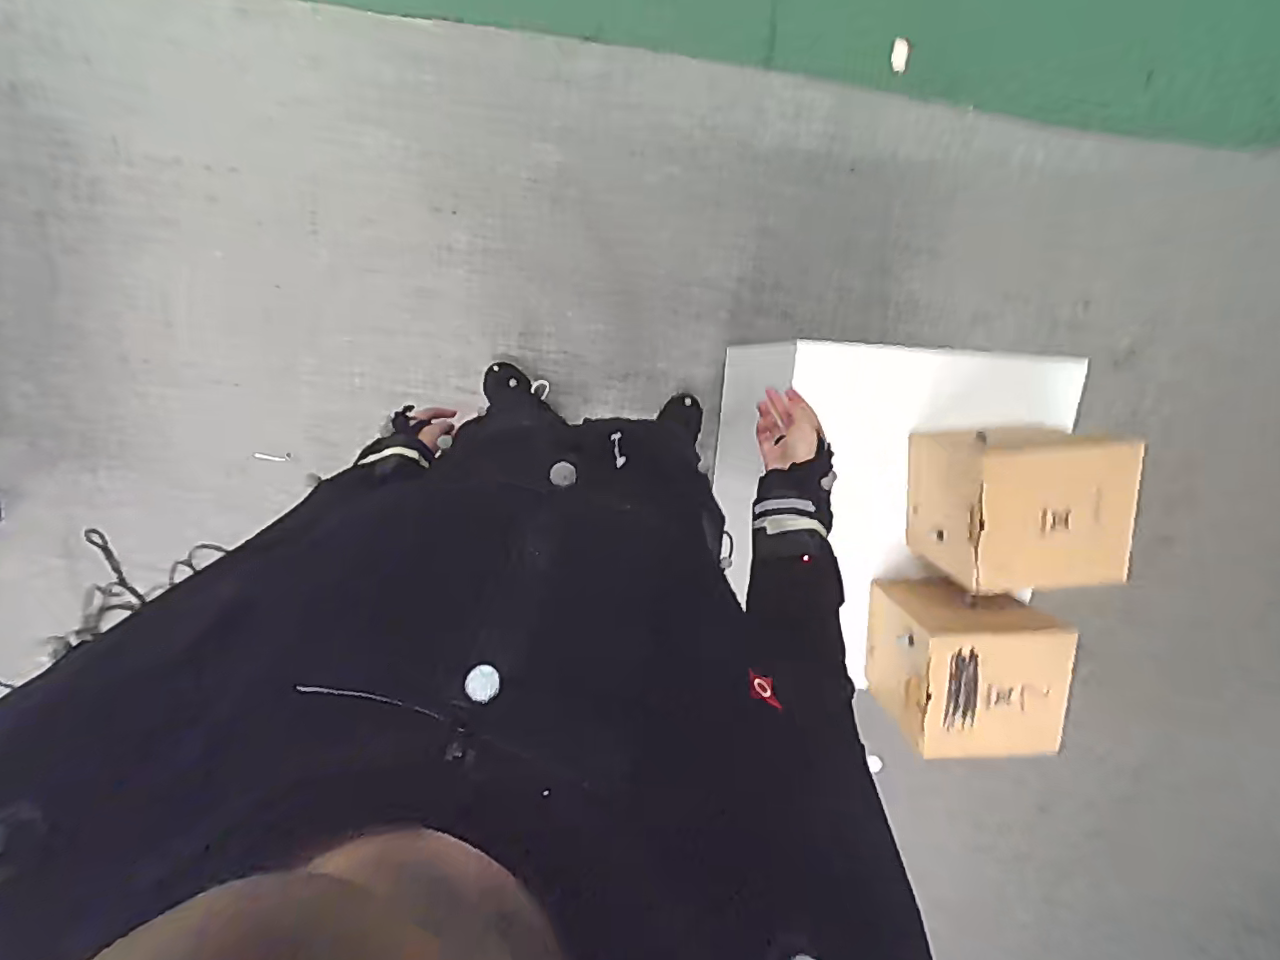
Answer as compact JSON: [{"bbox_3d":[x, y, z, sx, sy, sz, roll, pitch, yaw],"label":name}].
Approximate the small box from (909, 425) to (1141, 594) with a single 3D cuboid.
[{"bbox_3d":[0.463,0.028,0.683,0.179,0.176,0.168,-6,104,0],"label":"small box"}]
